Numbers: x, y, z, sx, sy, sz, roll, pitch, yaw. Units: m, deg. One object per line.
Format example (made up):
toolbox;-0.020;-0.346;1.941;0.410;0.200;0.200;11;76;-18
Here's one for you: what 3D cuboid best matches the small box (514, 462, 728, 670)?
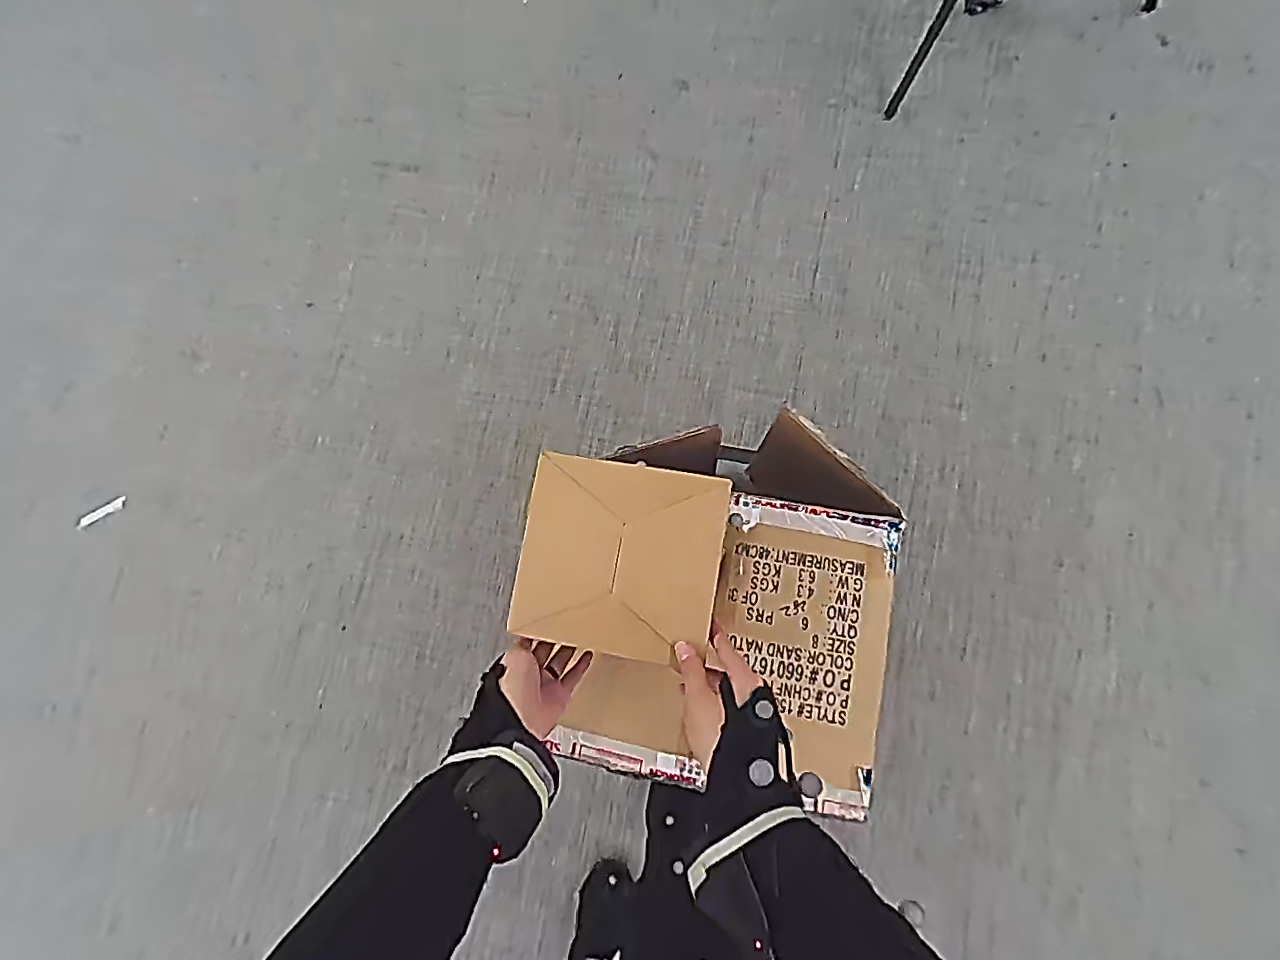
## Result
small box;-0.007;0.082;0.554;0.179;0.176;0.168;9;84;8
